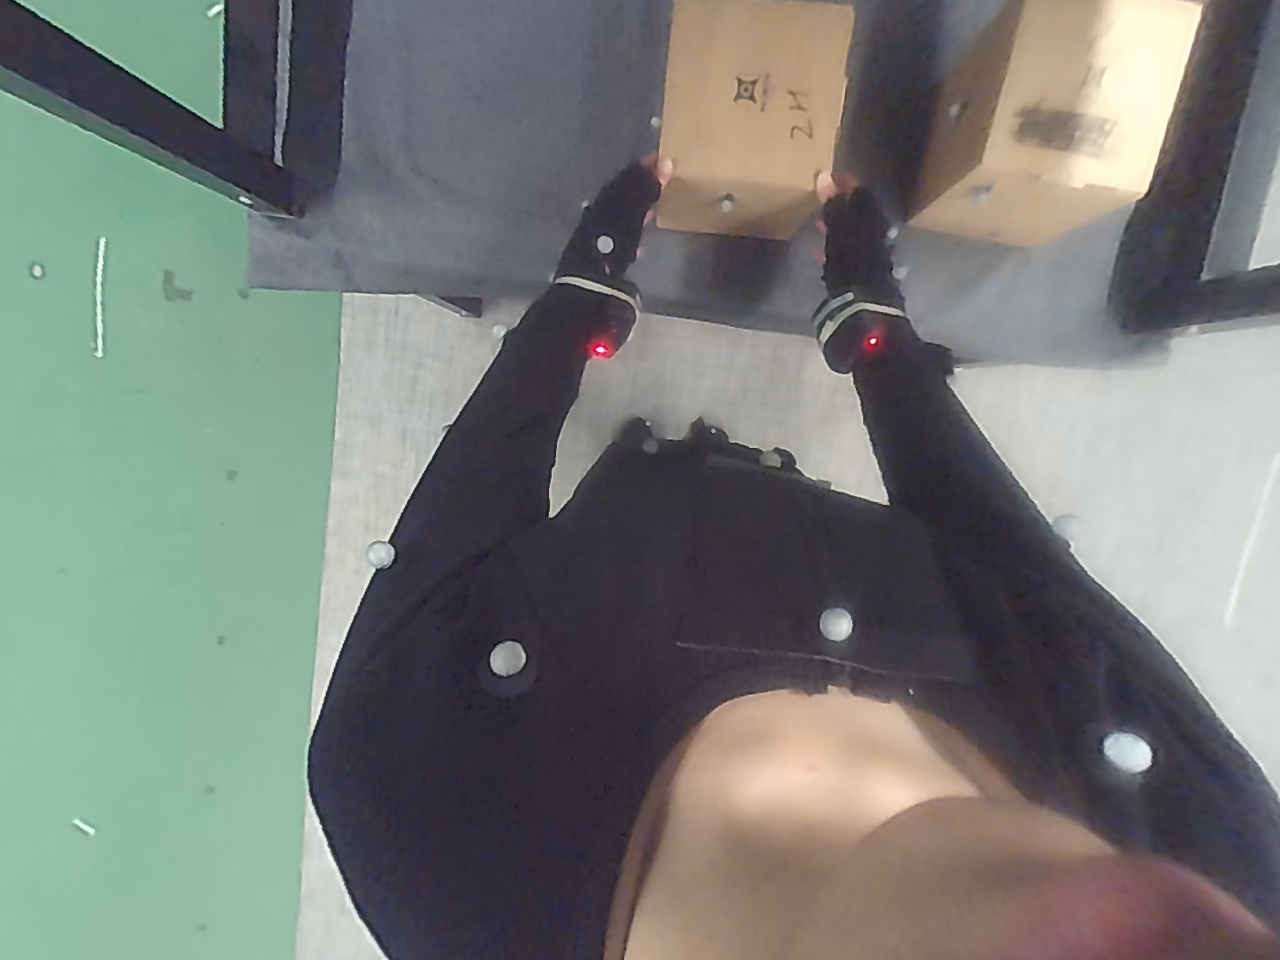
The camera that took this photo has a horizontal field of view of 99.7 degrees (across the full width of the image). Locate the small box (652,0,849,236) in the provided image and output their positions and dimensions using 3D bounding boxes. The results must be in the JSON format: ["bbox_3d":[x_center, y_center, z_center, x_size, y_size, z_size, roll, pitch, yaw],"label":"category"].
[{"bbox_3d":[0.110,-0.390,0.610,0.179,0.176,0.168,6,99,1],"label":"small box"}]
